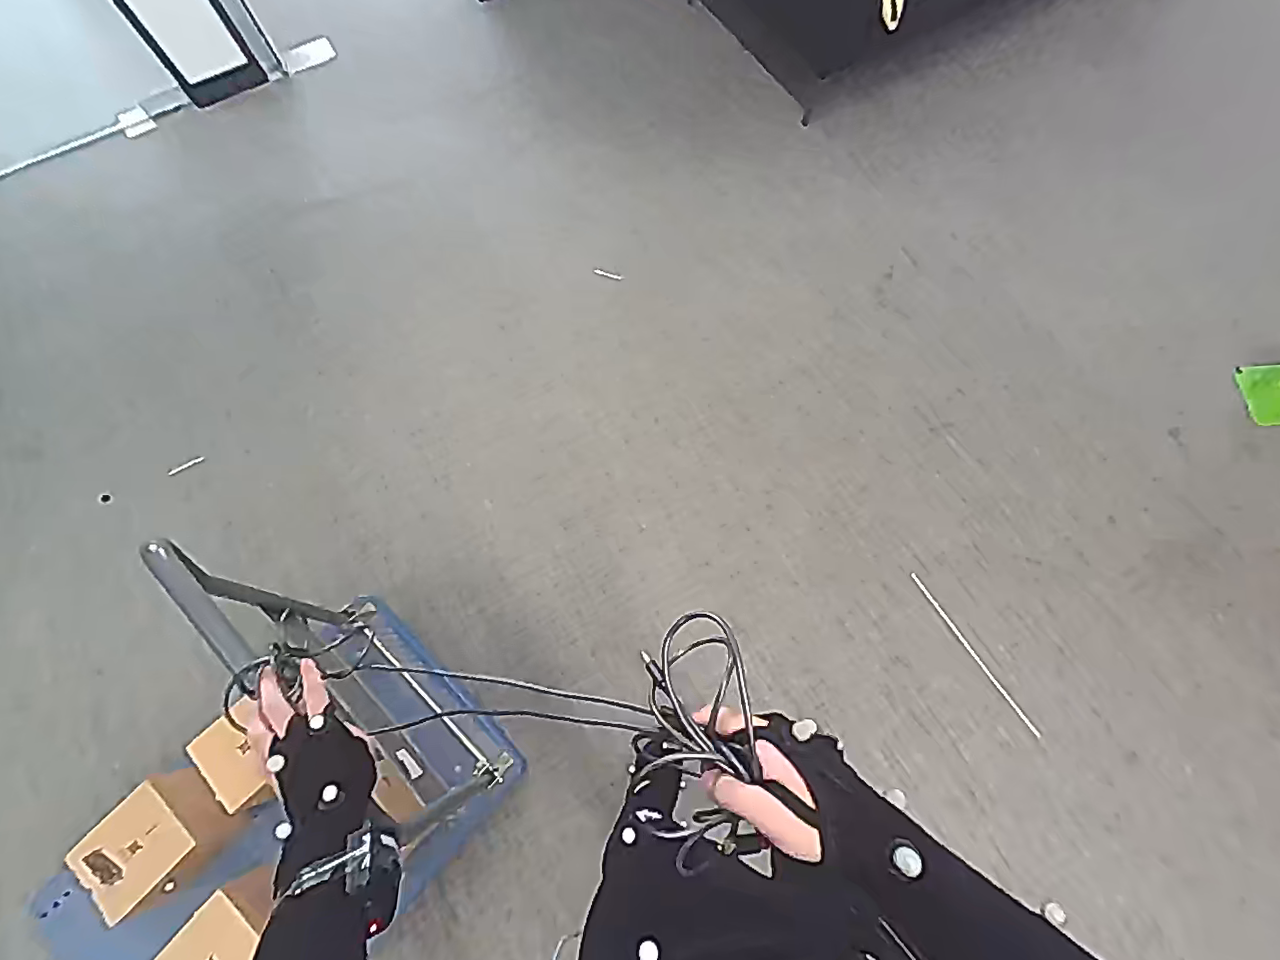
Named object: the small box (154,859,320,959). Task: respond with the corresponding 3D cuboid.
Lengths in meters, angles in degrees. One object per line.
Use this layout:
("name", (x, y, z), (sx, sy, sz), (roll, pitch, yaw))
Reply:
("small box", (-0.746, 0.868, 1.019), (0.168, 0.176, 0.179), (38, 75, 13))

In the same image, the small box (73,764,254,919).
("small box", (-0.933, 0.702, 1.077), (0.168, 0.176, 0.179), (40, 75, 12))

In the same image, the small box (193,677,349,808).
("small box", (-0.761, 0.538, 1.134), (0.168, 0.176, 0.179), (43, 76, 13))
